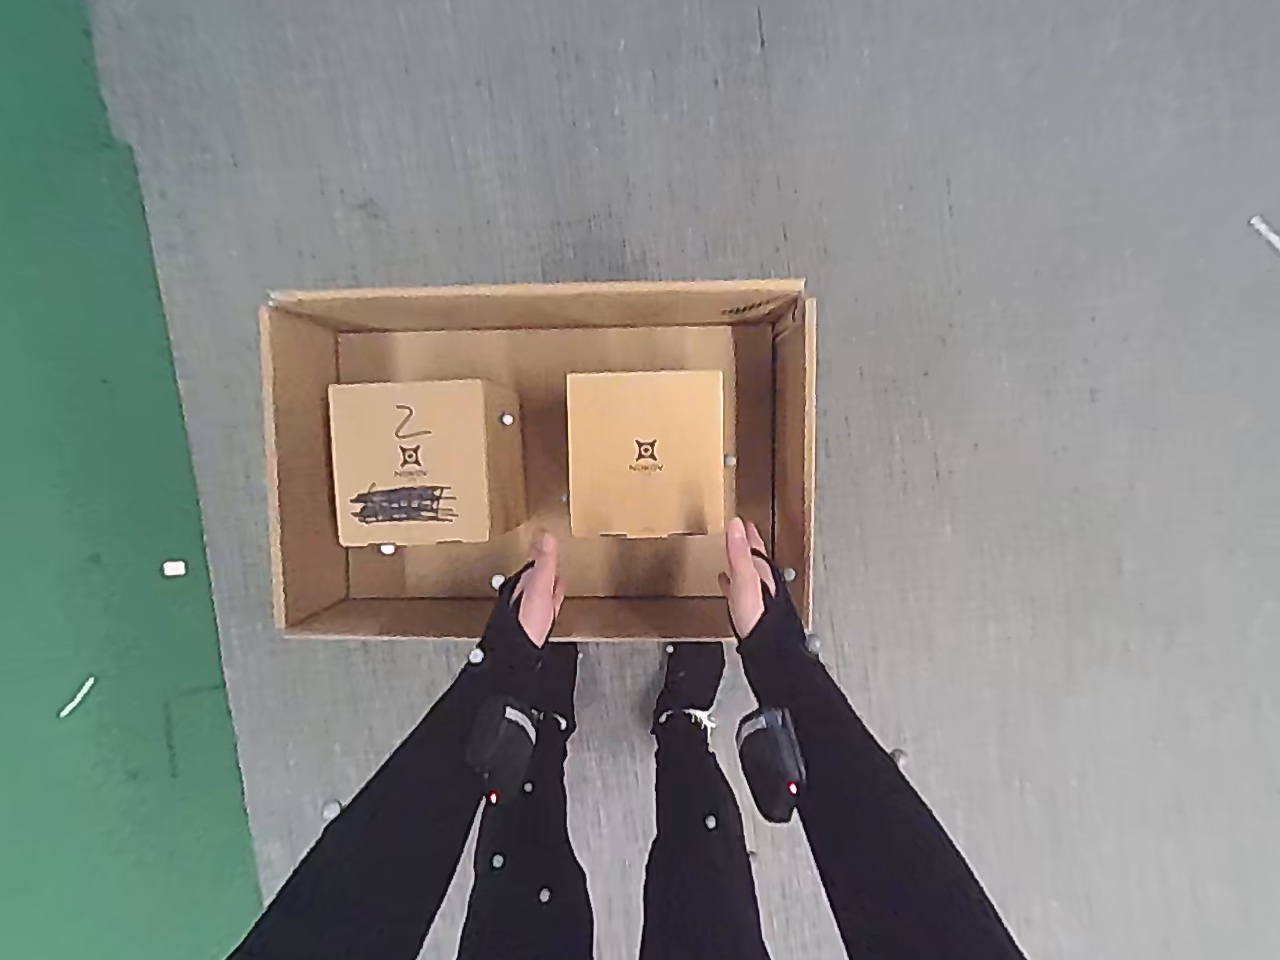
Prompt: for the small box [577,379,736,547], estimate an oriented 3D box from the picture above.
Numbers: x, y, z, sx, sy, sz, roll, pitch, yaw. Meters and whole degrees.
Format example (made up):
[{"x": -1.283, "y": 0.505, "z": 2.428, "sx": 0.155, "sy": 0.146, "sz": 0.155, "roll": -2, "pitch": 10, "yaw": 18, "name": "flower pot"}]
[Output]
[{"x": 0.016, "y": -0.023, "z": 0.639, "sx": 0.168, "sy": 0.176, "sz": 0.179, "roll": 0, "pitch": 96, "yaw": 1, "name": "small box"}]
